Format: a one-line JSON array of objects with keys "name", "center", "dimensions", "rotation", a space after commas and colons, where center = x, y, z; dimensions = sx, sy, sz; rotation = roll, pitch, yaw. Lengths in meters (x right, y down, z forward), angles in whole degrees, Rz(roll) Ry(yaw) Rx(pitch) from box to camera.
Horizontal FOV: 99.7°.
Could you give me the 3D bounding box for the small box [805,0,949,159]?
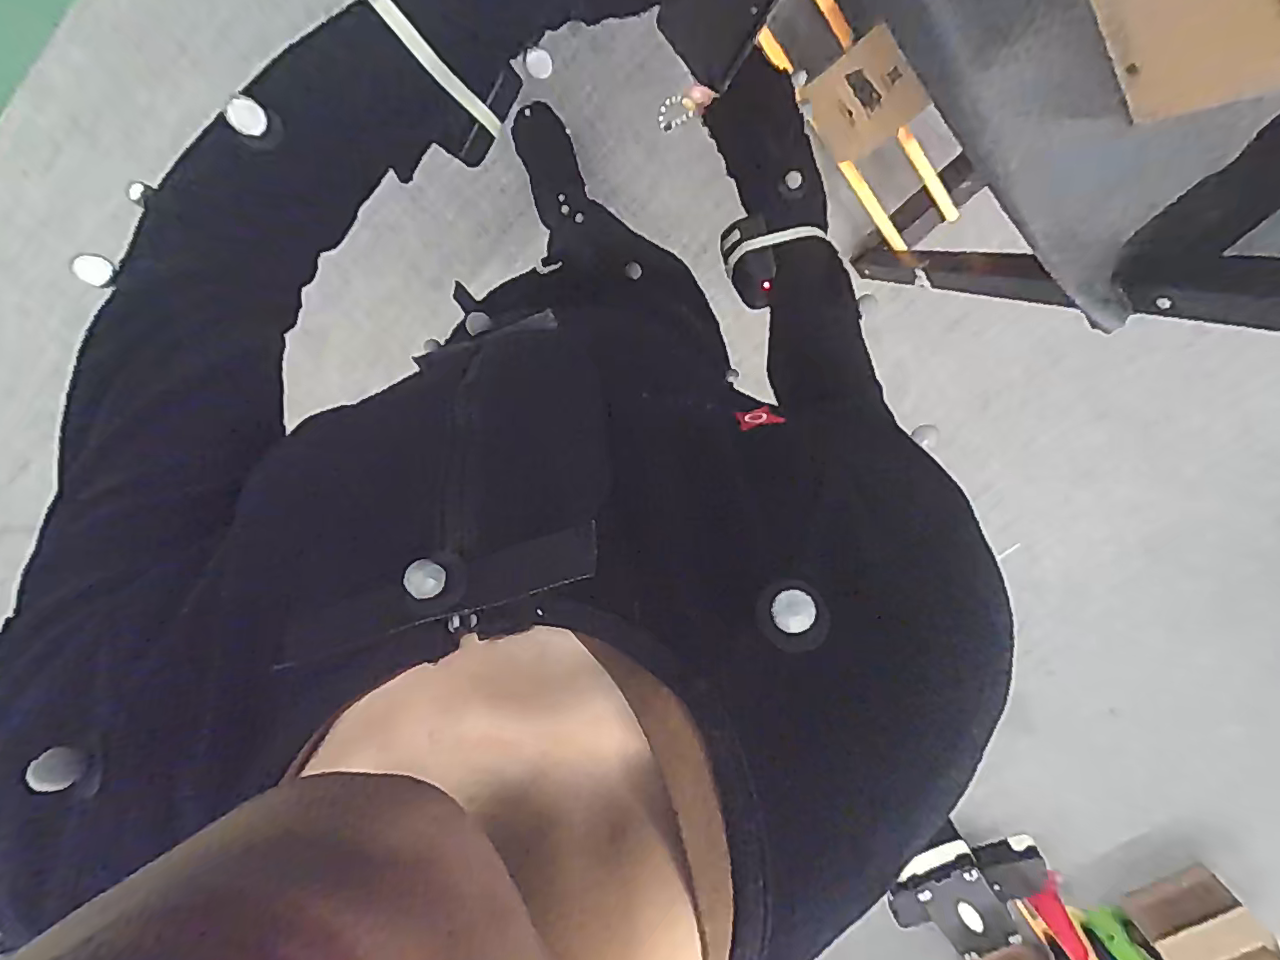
[{"name": "small box", "center": [0.439, -0.754, 1.040], "dimensions": [0.179, 0.176, 0.168], "rotation": [-37, 111, 12]}]
